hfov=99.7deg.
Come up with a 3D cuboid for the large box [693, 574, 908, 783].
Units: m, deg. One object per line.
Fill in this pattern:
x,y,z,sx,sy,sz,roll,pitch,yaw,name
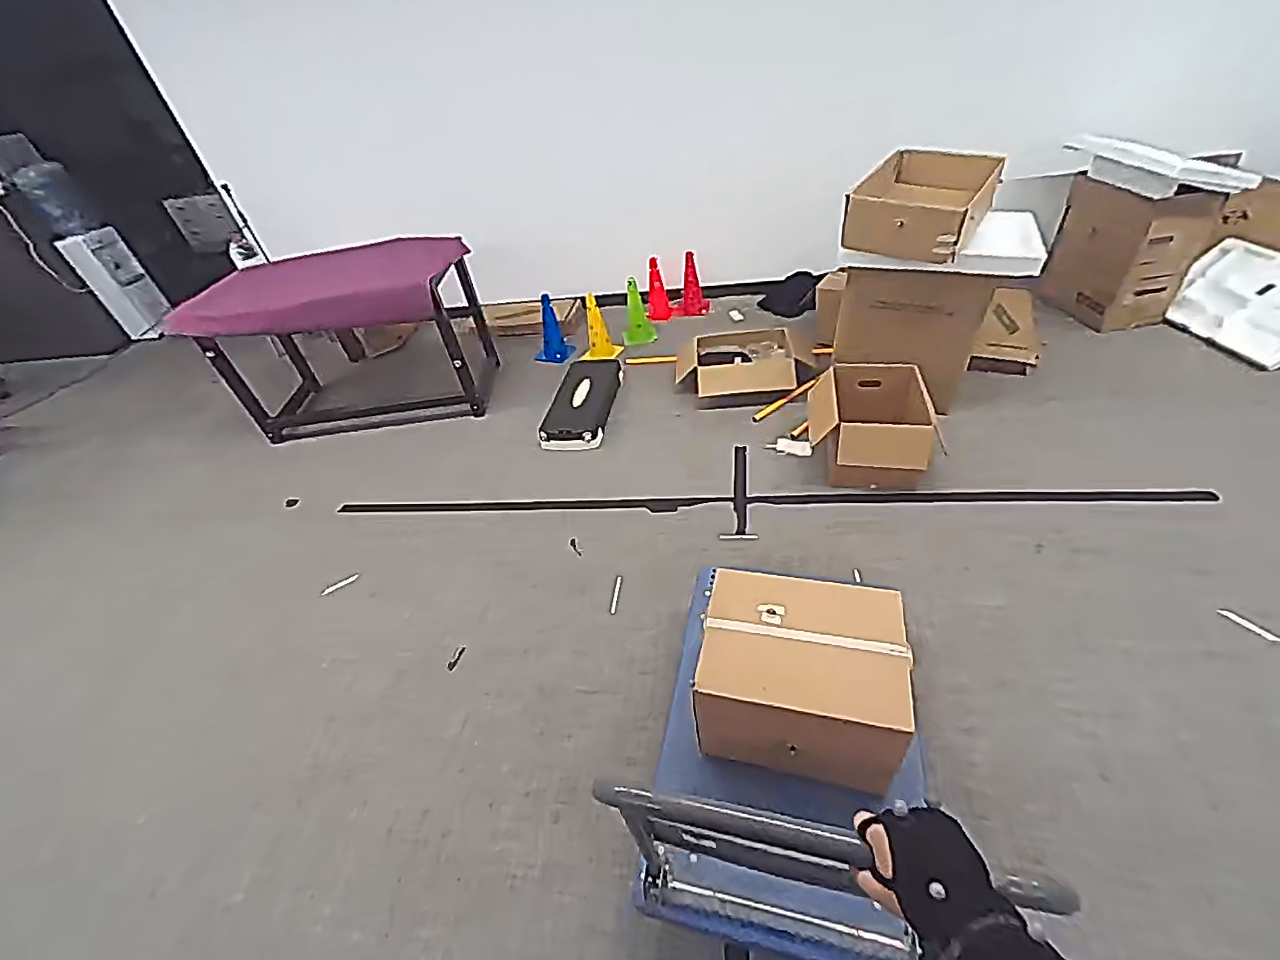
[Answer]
0.354,0.446,1.236,0.408,0.320,0.320,3,42,16,large box
